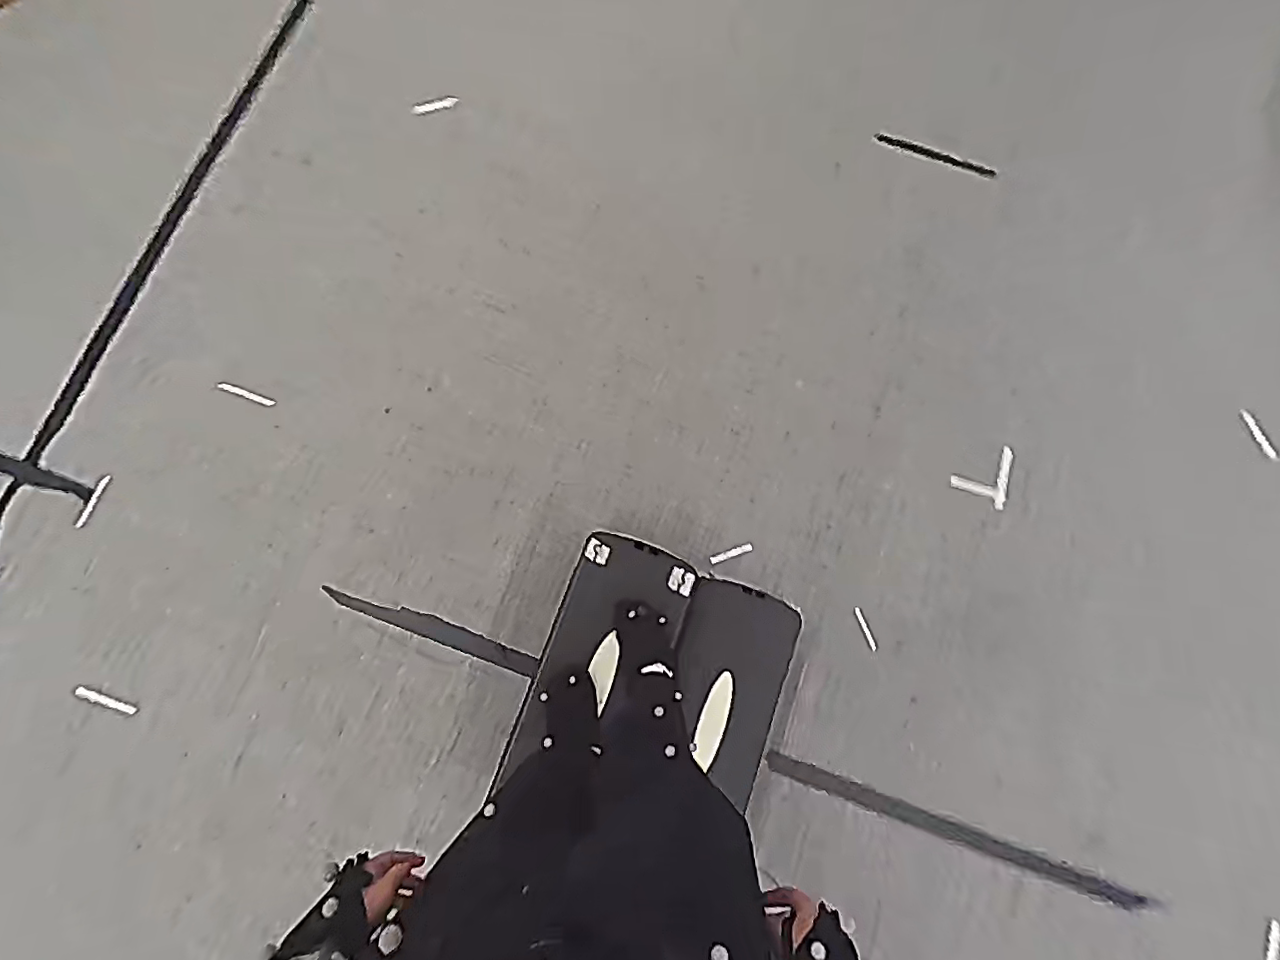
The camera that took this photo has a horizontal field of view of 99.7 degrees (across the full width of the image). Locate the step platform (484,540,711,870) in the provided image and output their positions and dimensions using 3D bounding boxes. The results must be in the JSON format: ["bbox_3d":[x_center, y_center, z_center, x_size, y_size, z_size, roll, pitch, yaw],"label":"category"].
[{"bbox_3d":[-0.084,0.486,1.254,0.286,0.204,0.684,24,77,2],"label":"step platform"}]
